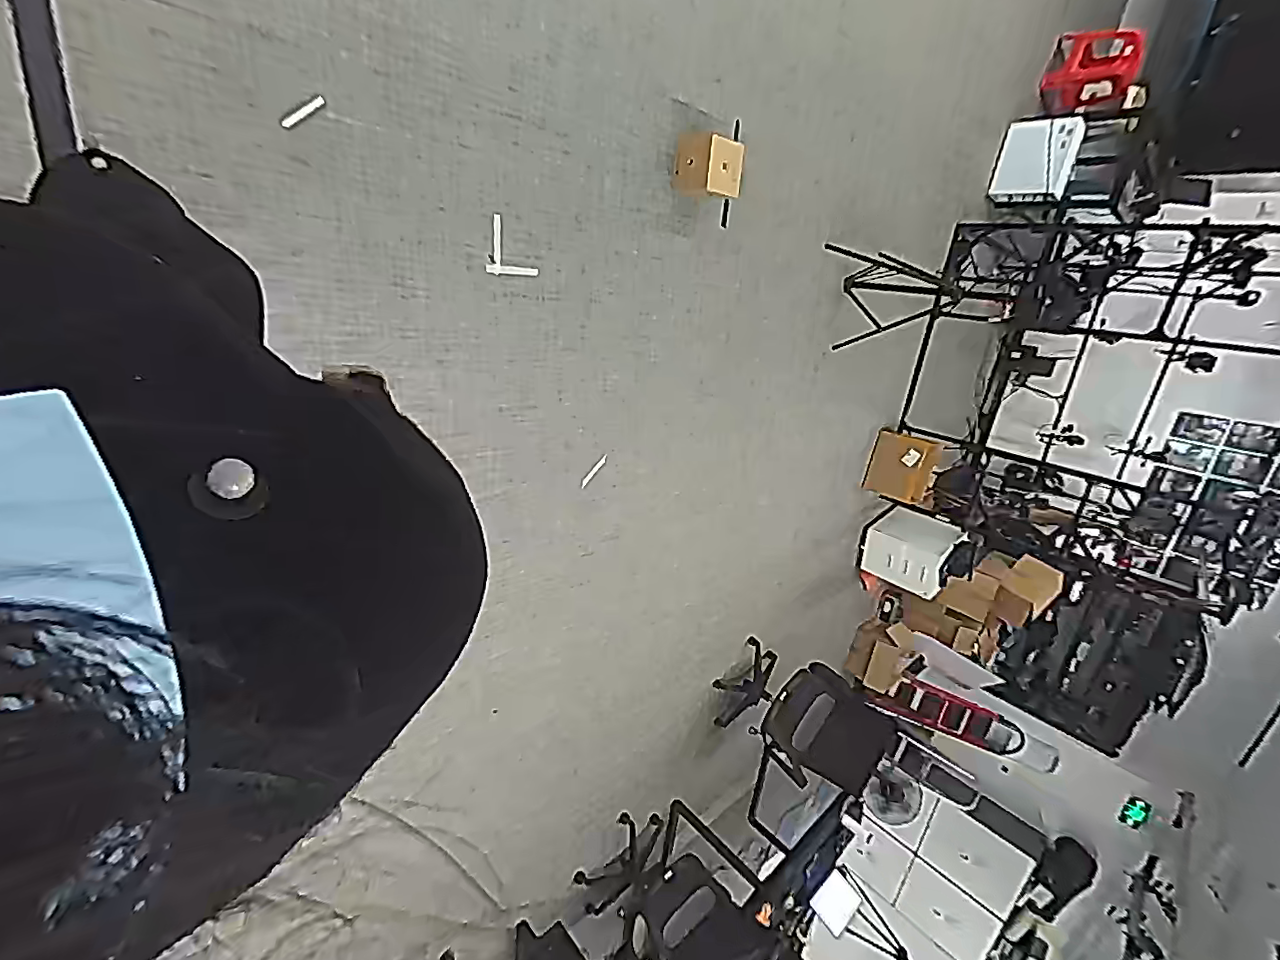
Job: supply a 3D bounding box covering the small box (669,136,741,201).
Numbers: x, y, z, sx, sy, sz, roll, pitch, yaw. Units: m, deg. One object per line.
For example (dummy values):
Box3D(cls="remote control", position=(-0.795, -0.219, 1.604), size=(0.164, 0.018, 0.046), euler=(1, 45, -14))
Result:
Box3D(cls="small box", position=(0.222, -1.076, 1.882), size=(0.179, 0.176, 0.168), euler=(-14, 119, -42))
